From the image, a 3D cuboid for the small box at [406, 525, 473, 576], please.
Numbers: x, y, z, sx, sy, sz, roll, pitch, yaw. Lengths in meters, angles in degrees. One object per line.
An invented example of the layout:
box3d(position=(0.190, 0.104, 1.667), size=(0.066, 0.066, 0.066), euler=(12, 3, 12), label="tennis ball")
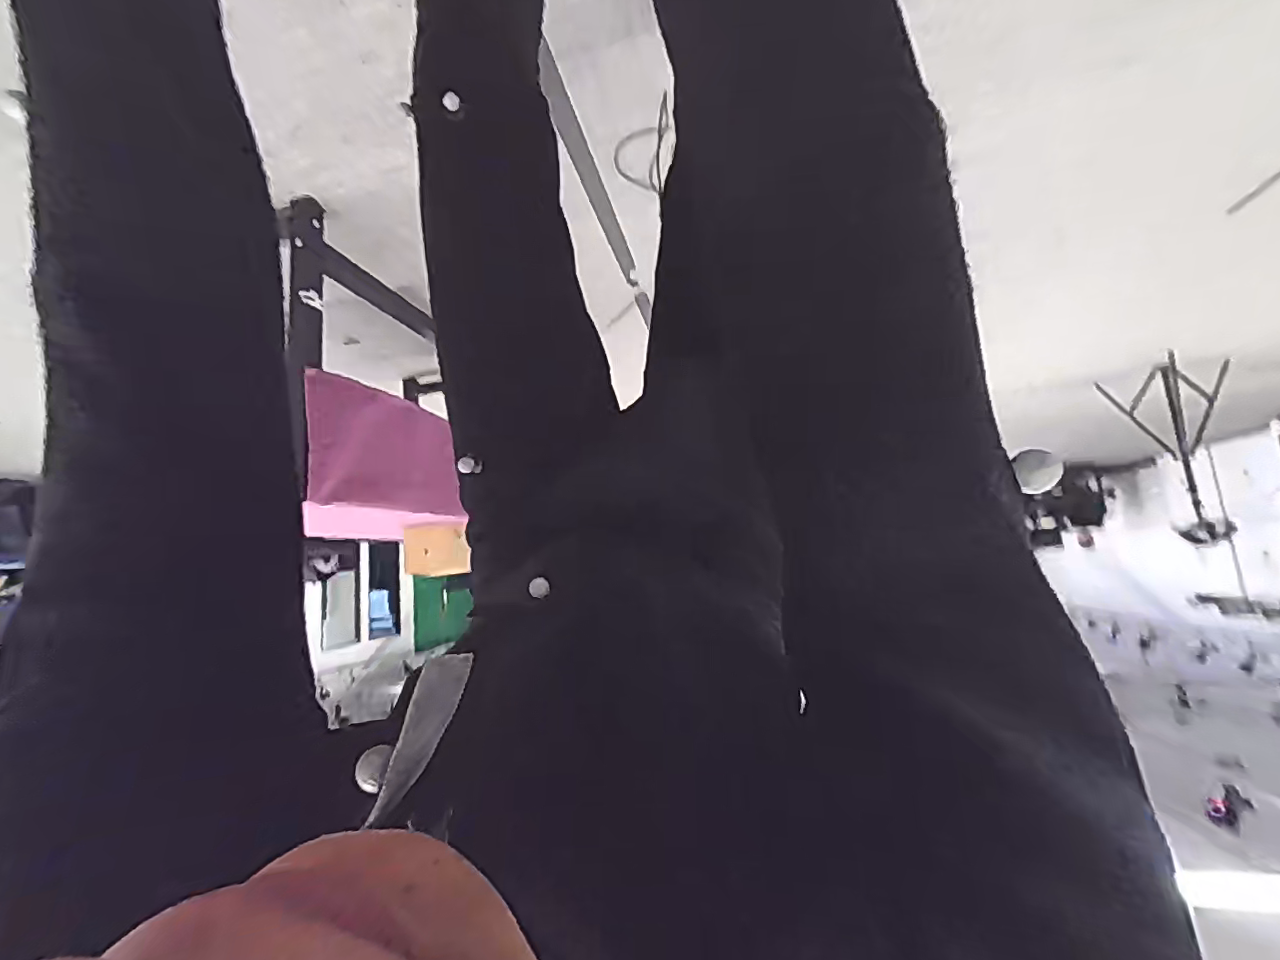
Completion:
box3d(position=(-0.733, 0.261, 1.982), size=(0.179, 0.176, 0.168), euler=(-8, 171, 16), label="small box")
